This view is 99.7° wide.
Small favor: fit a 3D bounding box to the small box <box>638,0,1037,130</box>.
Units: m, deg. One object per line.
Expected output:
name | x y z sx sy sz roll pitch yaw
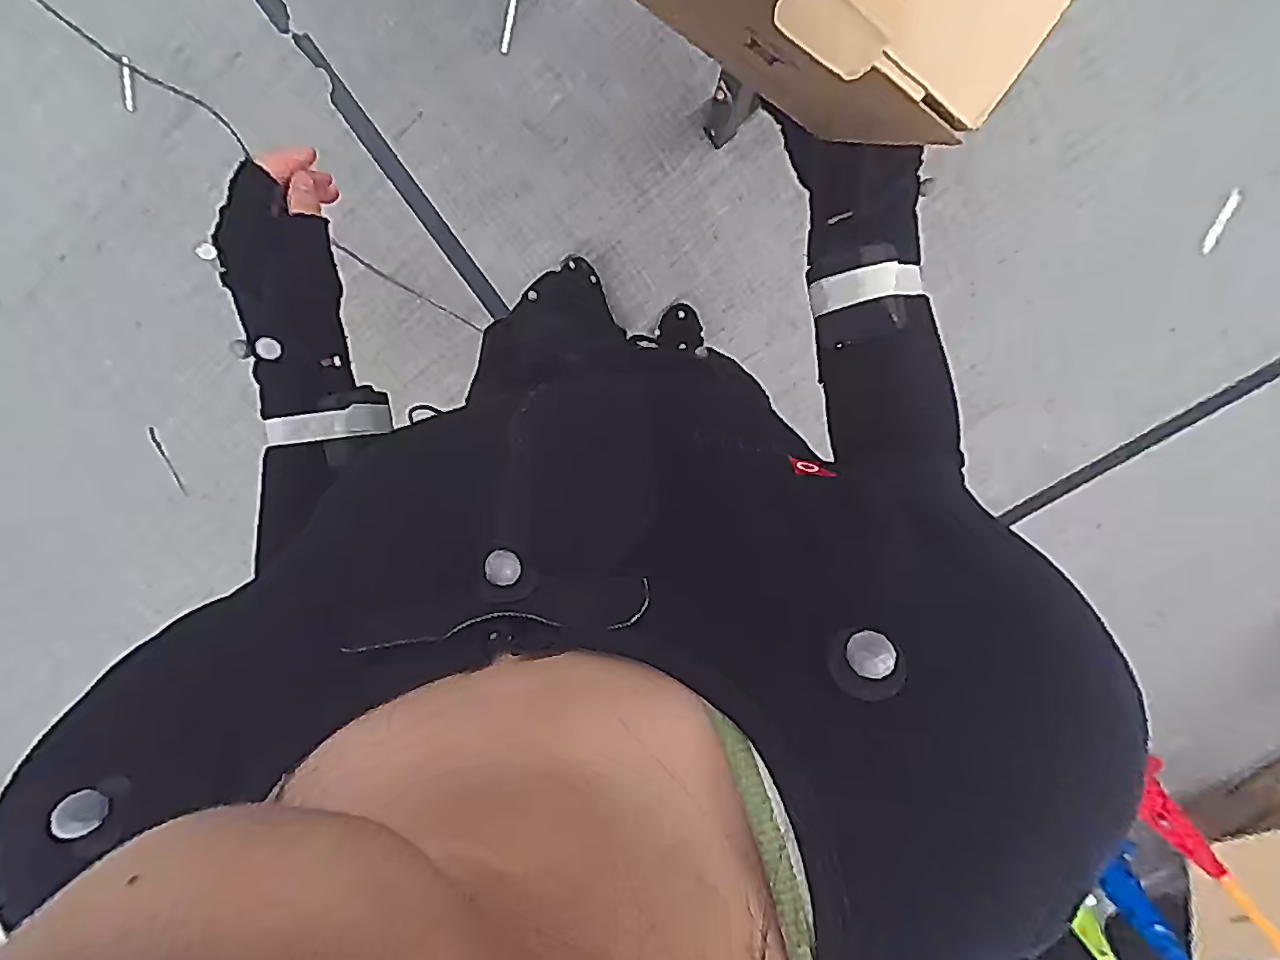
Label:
small box | 0.101 -0.296 0.248 0.168 0.179 0.176 23 116 -20
